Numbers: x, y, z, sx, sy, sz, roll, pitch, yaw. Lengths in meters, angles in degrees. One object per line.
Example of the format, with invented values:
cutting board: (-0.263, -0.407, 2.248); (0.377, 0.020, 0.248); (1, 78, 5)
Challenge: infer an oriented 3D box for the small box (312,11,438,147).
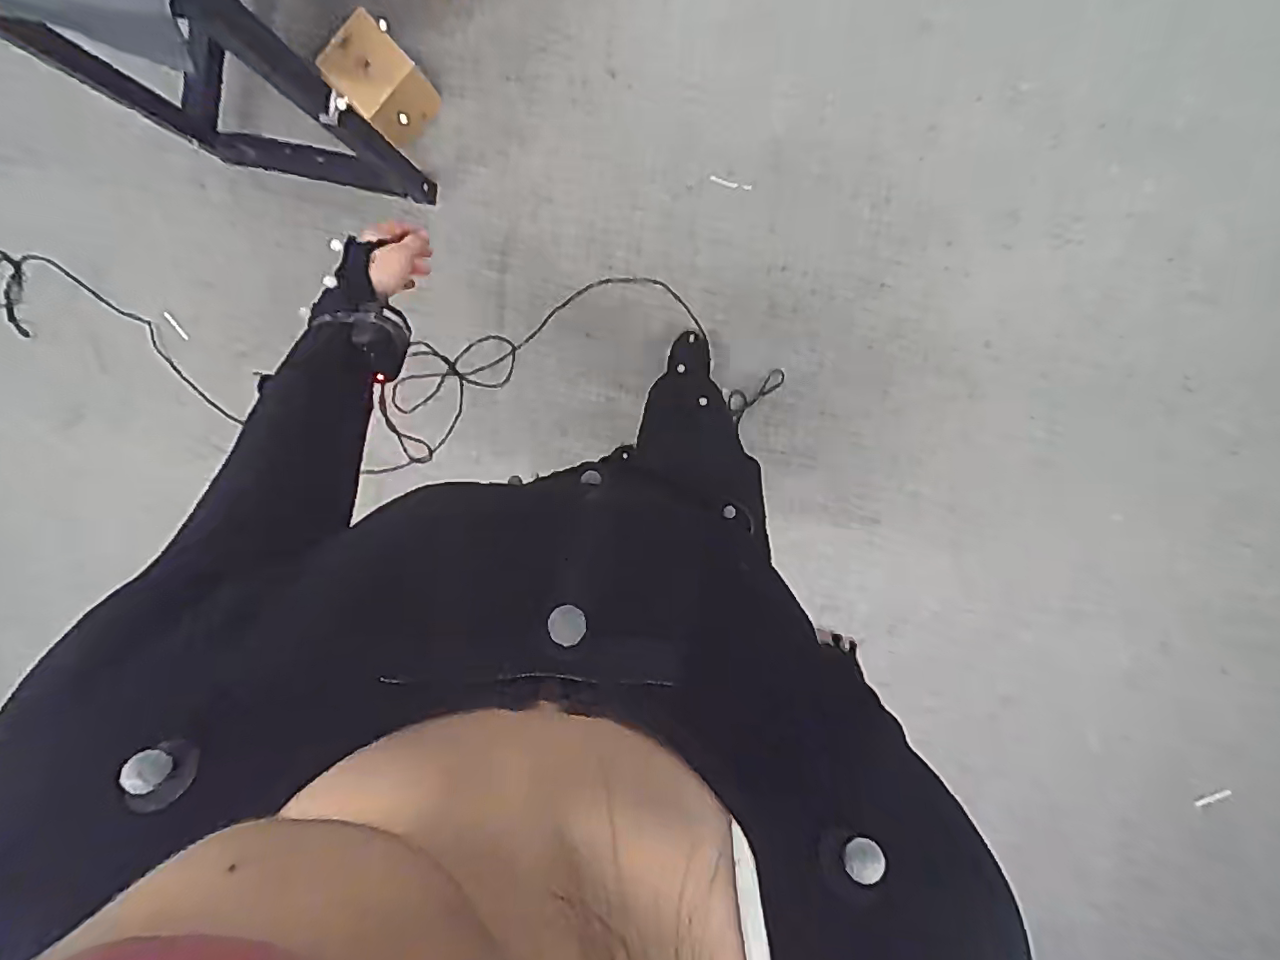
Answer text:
small box: (-0.623, -0.943, 1.298); (0.168, 0.176, 0.179); (-44, 93, 7)
